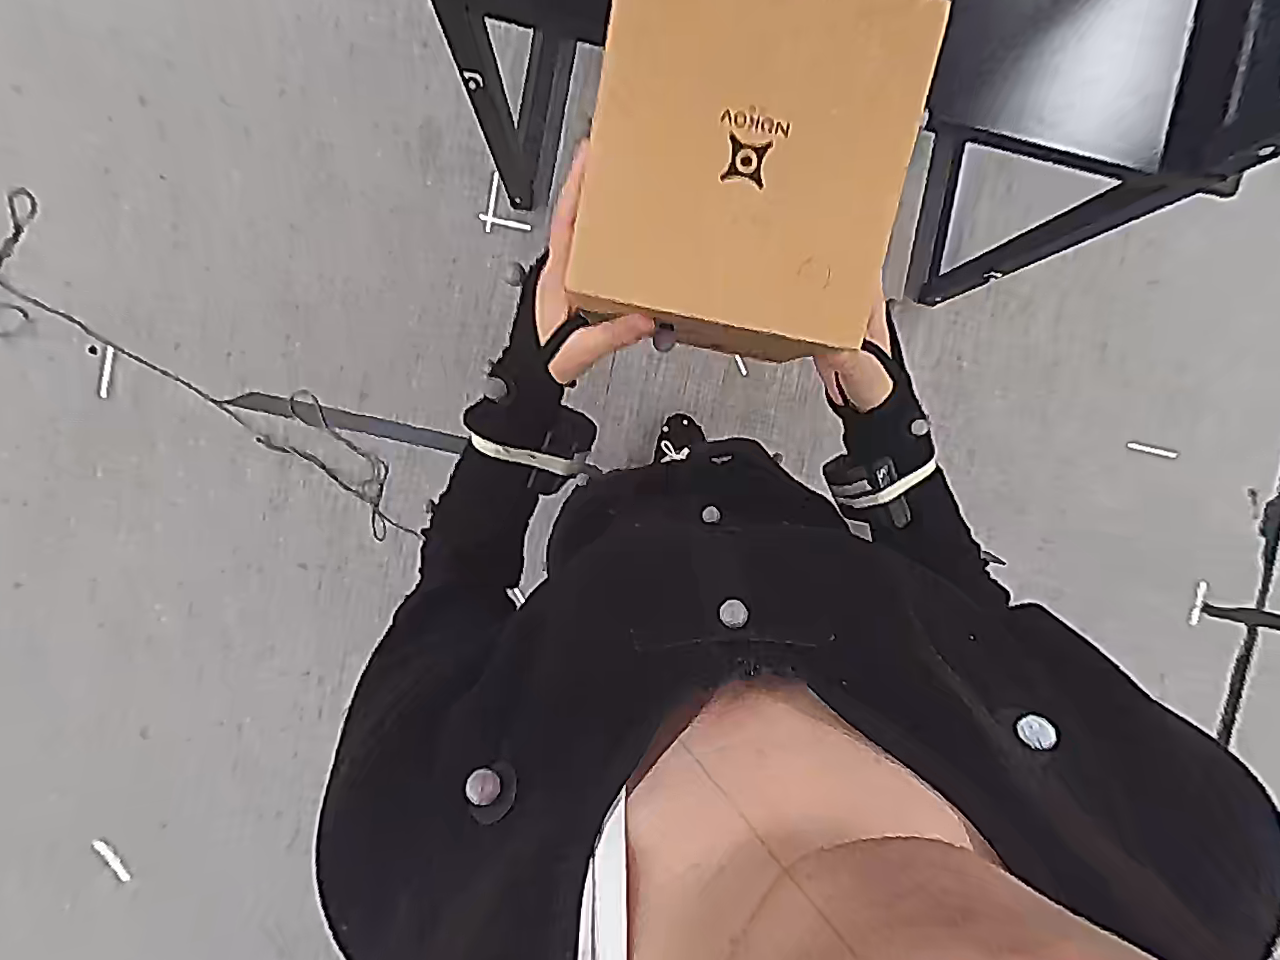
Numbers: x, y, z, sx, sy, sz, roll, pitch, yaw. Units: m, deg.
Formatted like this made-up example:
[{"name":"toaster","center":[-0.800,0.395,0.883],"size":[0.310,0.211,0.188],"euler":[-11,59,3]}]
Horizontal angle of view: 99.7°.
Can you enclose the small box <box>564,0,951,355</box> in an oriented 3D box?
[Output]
[{"name":"small box","center":[0.056,-0.184,0.350],"size":[0.168,0.176,0.179],"euler":[10,99,-2]}]
